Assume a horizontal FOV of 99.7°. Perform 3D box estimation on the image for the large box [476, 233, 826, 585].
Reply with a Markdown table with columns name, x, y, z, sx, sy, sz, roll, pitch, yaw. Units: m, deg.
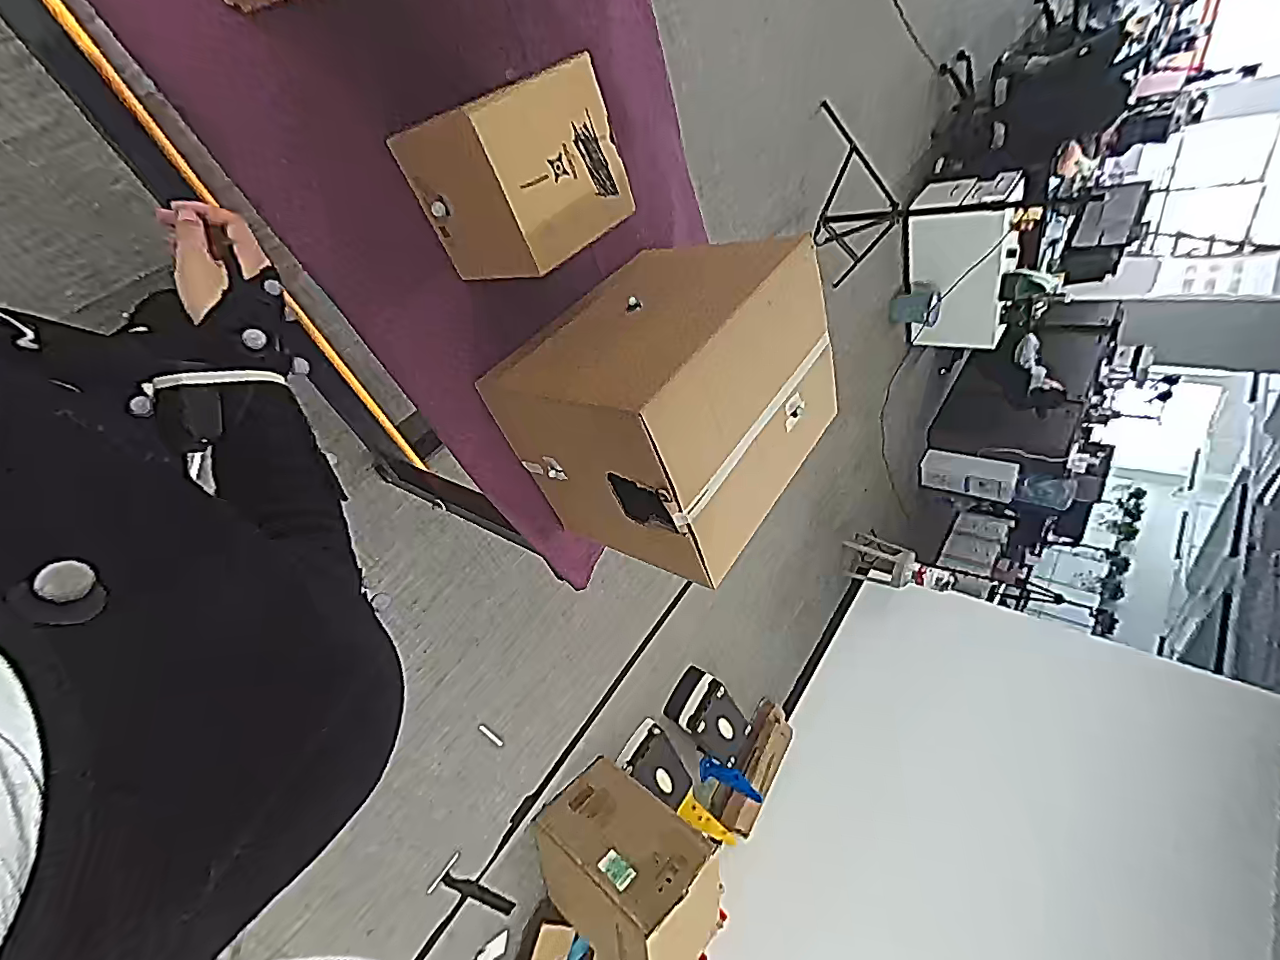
| name | x | y | z | sx | sy | sz | roll | pitch | yaw |
| --- | --- | --- | --- | --- | --- | --- | --- | --- | --- |
| large box | 0.041 | -0.123 | 0.828 | 0.408 | 0.320 | 0.320 | -50 | 136 | -28 |
